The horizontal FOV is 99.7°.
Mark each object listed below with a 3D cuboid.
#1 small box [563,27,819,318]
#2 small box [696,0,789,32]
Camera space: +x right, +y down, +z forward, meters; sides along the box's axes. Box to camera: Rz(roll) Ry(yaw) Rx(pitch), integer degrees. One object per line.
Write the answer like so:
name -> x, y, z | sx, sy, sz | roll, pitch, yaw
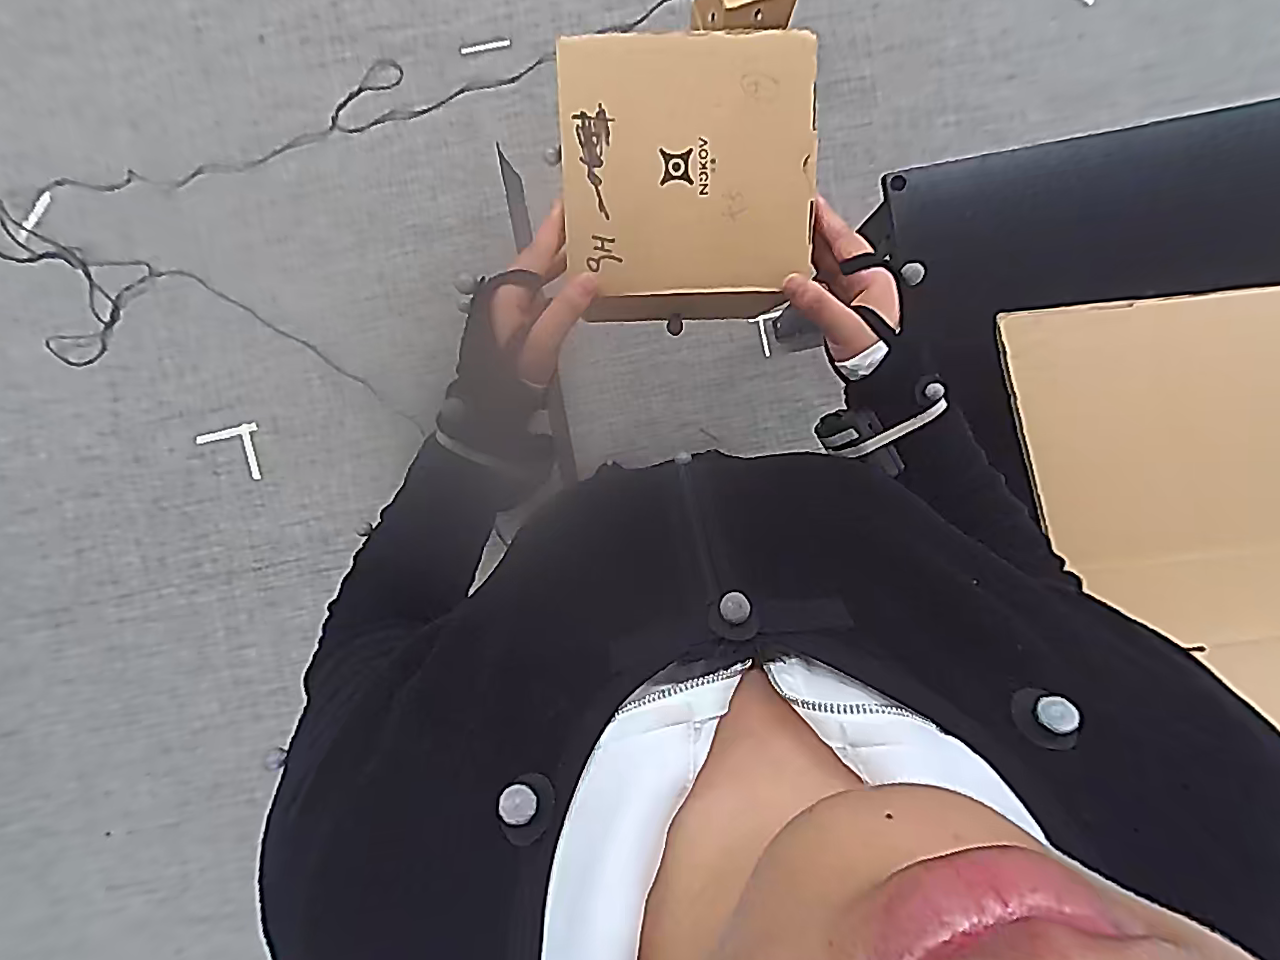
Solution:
small box -> 0.031, -0.232, 0.452 | 0.179, 0.176, 0.168 | -2, 99, -3
small box -> 0.233, -1.112, 1.235 | 0.179, 0.176, 0.168 | -18, 92, -1
